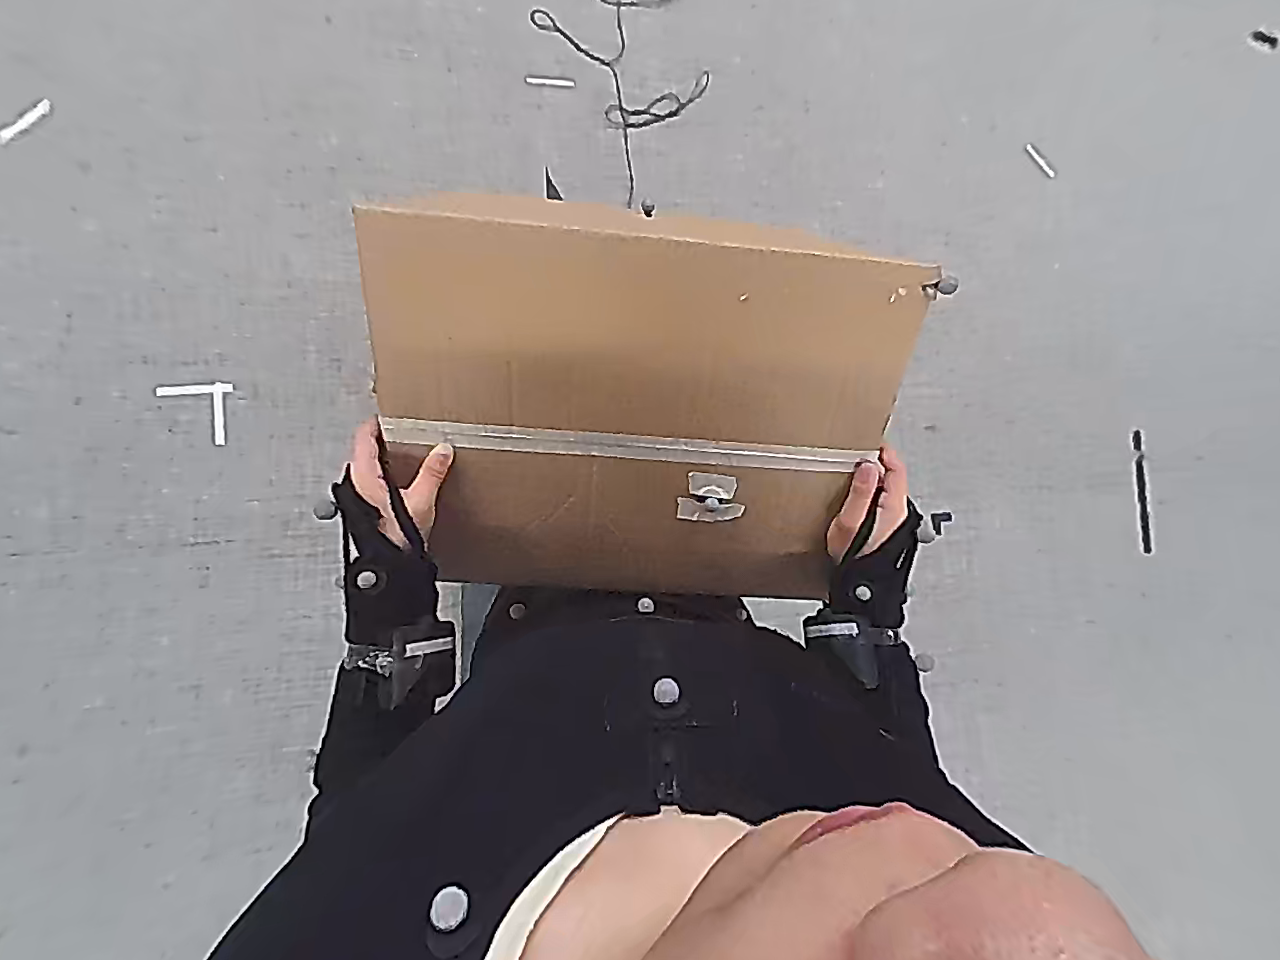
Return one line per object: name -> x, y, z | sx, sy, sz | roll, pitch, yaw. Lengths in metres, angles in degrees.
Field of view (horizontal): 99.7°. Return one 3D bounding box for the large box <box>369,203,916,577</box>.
large box -> -0.011, -0.112, 0.587 | 0.408, 0.320, 0.320 | 2, 120, -6
